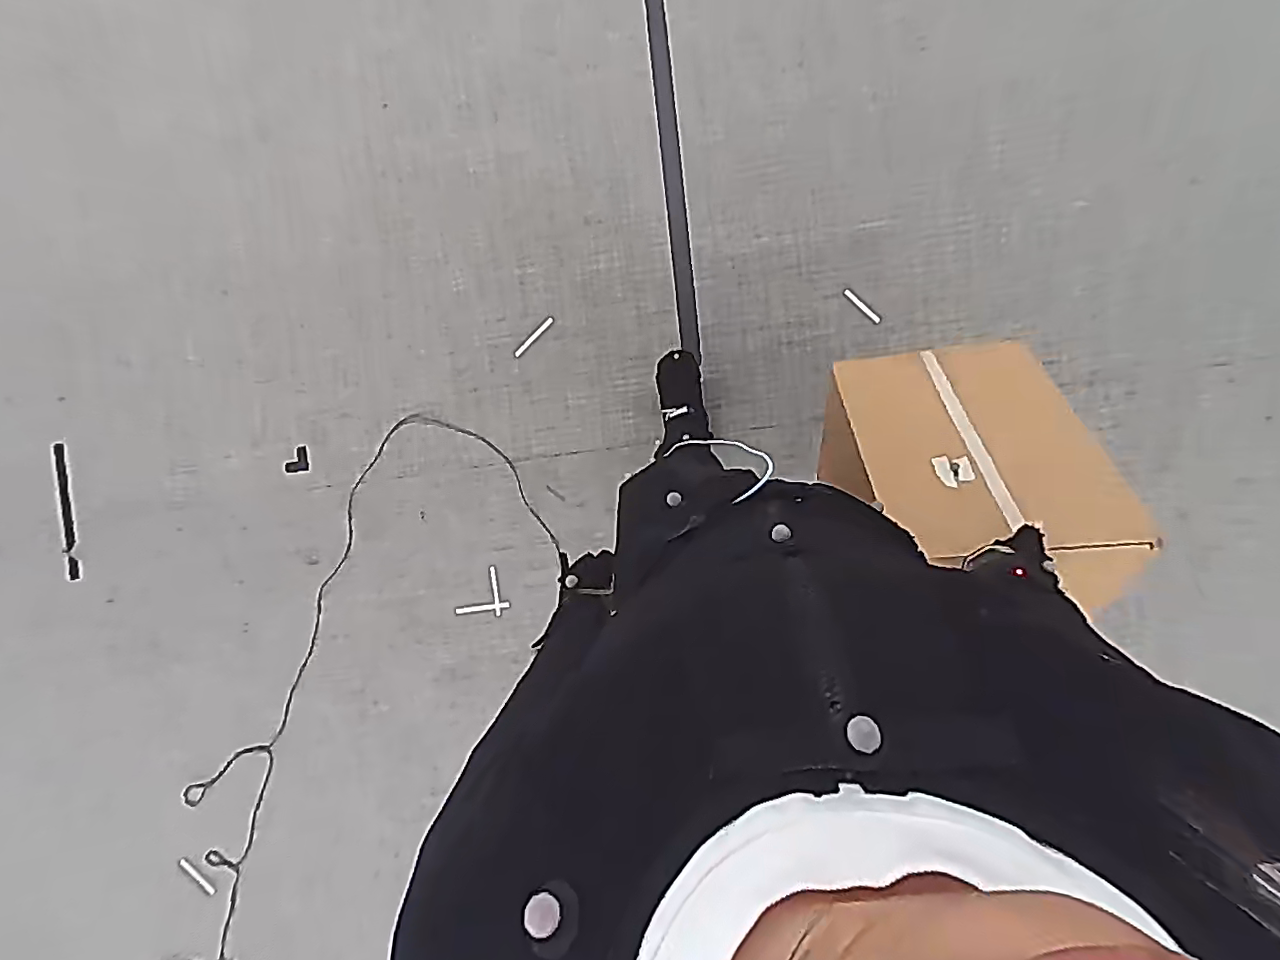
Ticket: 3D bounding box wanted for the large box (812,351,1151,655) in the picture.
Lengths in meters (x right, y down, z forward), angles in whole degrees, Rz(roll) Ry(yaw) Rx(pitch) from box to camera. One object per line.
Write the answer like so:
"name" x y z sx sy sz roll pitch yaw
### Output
"large box" 0.497 0.039 0.914 0.320 0.320 0.408 -6 49 8
